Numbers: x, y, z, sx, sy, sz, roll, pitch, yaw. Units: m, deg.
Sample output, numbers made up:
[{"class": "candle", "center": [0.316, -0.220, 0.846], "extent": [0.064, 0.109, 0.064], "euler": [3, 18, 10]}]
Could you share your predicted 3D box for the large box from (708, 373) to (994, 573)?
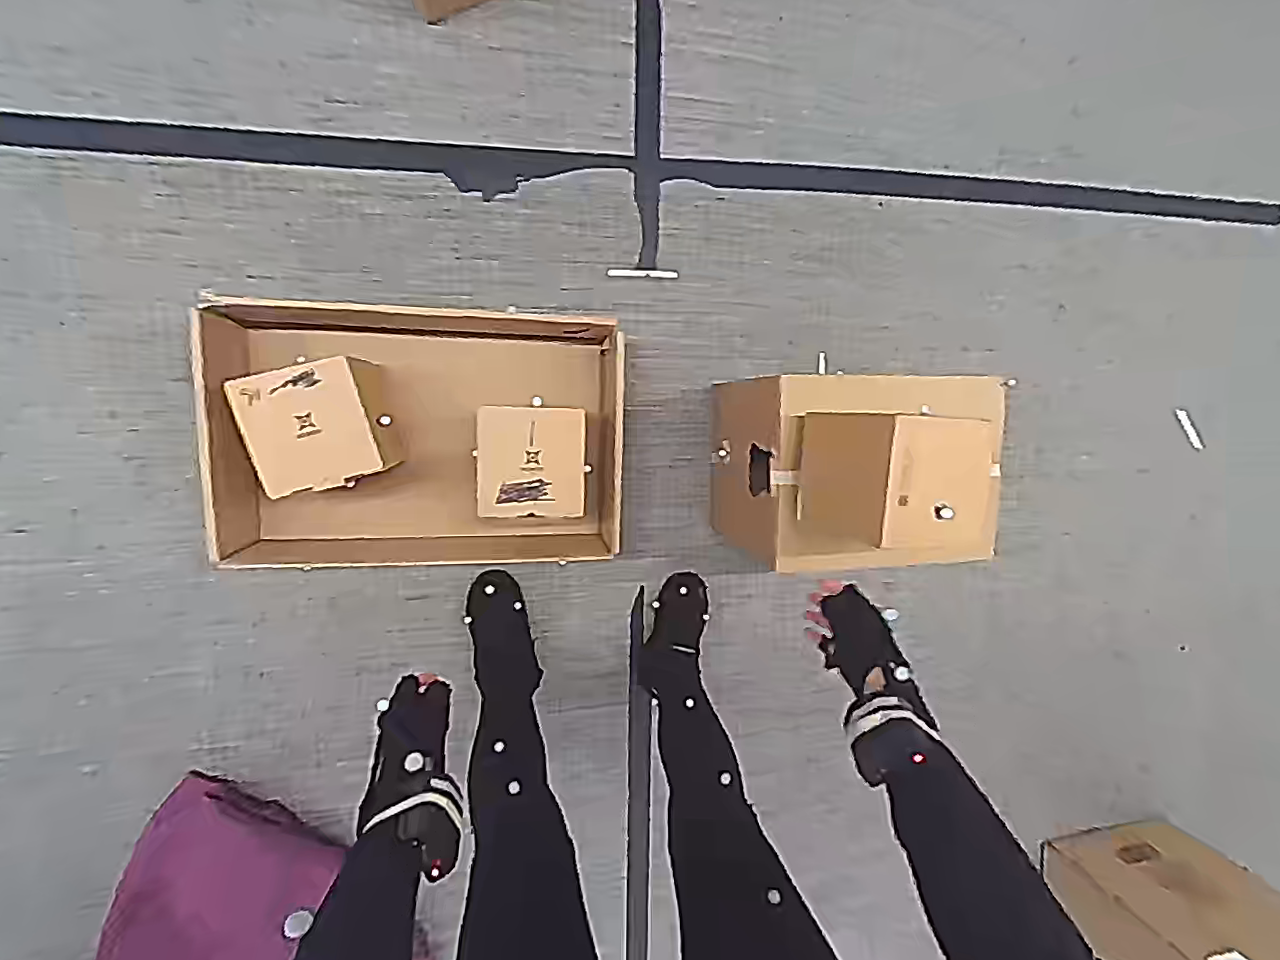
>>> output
[{"class": "large box", "center": [0.368, -0.031, 1.023], "extent": [0.408, 0.320, 0.320], "euler": [-2, 98, -12]}]
